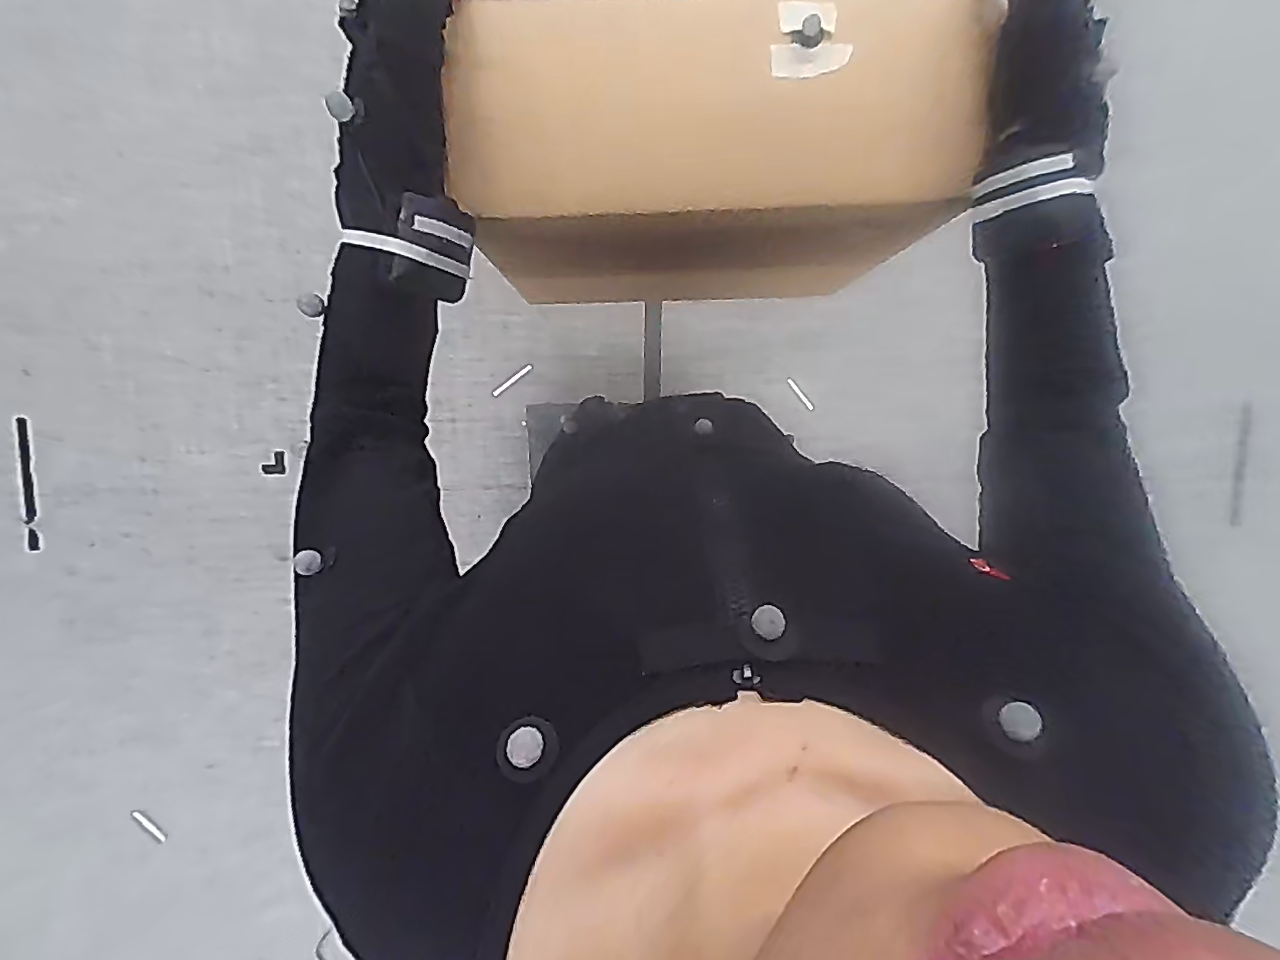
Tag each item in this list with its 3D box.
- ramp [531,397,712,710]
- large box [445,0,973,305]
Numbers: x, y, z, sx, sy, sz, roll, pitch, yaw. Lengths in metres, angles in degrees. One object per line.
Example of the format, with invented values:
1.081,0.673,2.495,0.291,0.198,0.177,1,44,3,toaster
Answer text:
-0.041,0.255,1.594,0.509,0.206,0.991,-3,97,-2,ramp
0.048,-0.378,0.552,0.408,0.320,0.320,-3,96,-1,large box
